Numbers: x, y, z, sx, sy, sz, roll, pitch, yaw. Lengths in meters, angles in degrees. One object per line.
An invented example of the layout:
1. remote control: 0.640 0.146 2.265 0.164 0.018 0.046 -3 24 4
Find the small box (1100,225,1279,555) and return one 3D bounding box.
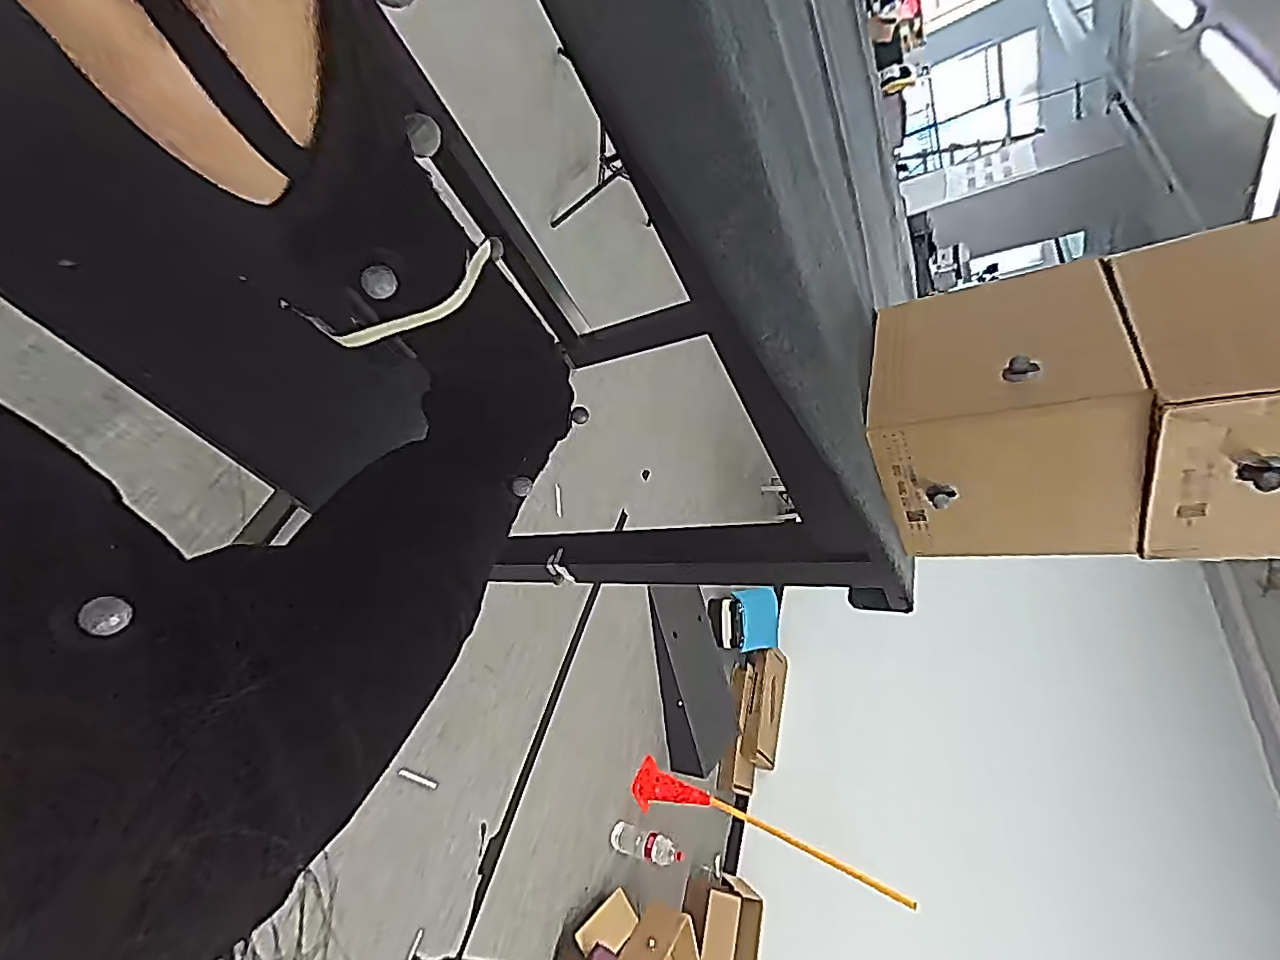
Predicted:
1. small box: 0.440 -0.064 0.375 0.168 0.176 0.179 53 45 -37
